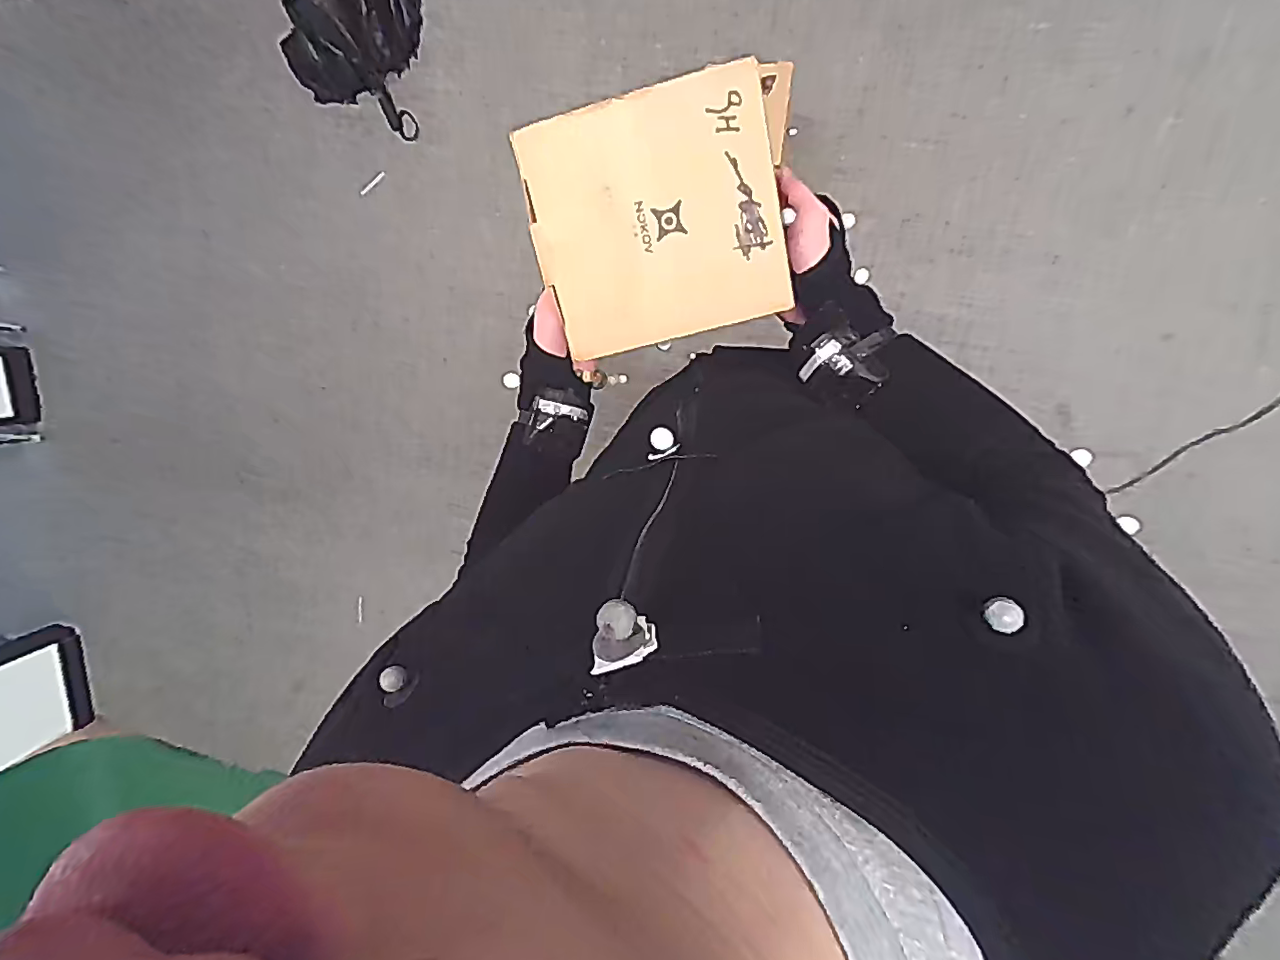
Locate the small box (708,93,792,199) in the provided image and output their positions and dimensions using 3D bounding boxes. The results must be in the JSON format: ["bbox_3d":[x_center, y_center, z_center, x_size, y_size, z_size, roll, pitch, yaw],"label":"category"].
[{"bbox_3d":[0.258,-0.775,1.265,0.168,0.176,0.179,8,107,13],"label":"small box"}]

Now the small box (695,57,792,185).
[{"bbox_3d":[0.215,-0.729,1.113,0.168,0.176,0.179,8,106,13],"label":"small box"}]
